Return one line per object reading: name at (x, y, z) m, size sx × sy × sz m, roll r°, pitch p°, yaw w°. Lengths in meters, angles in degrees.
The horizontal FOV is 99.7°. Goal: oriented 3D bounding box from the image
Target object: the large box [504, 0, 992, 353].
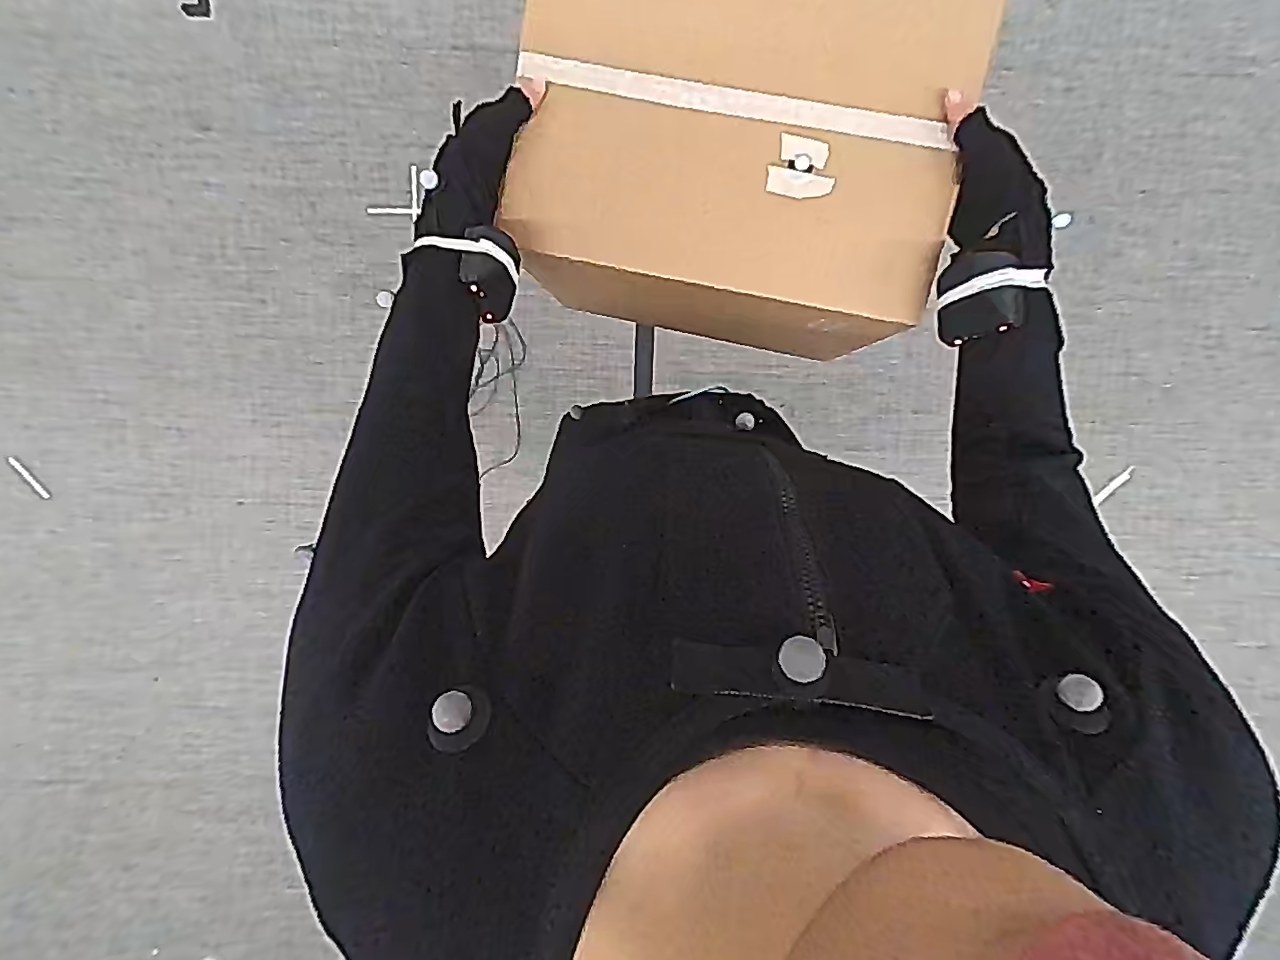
large box at (0.097, -0.355, 0.642) m, size 0.408 × 0.320 × 0.320 m, roll 12°, pitch 99°, yaw 2°
